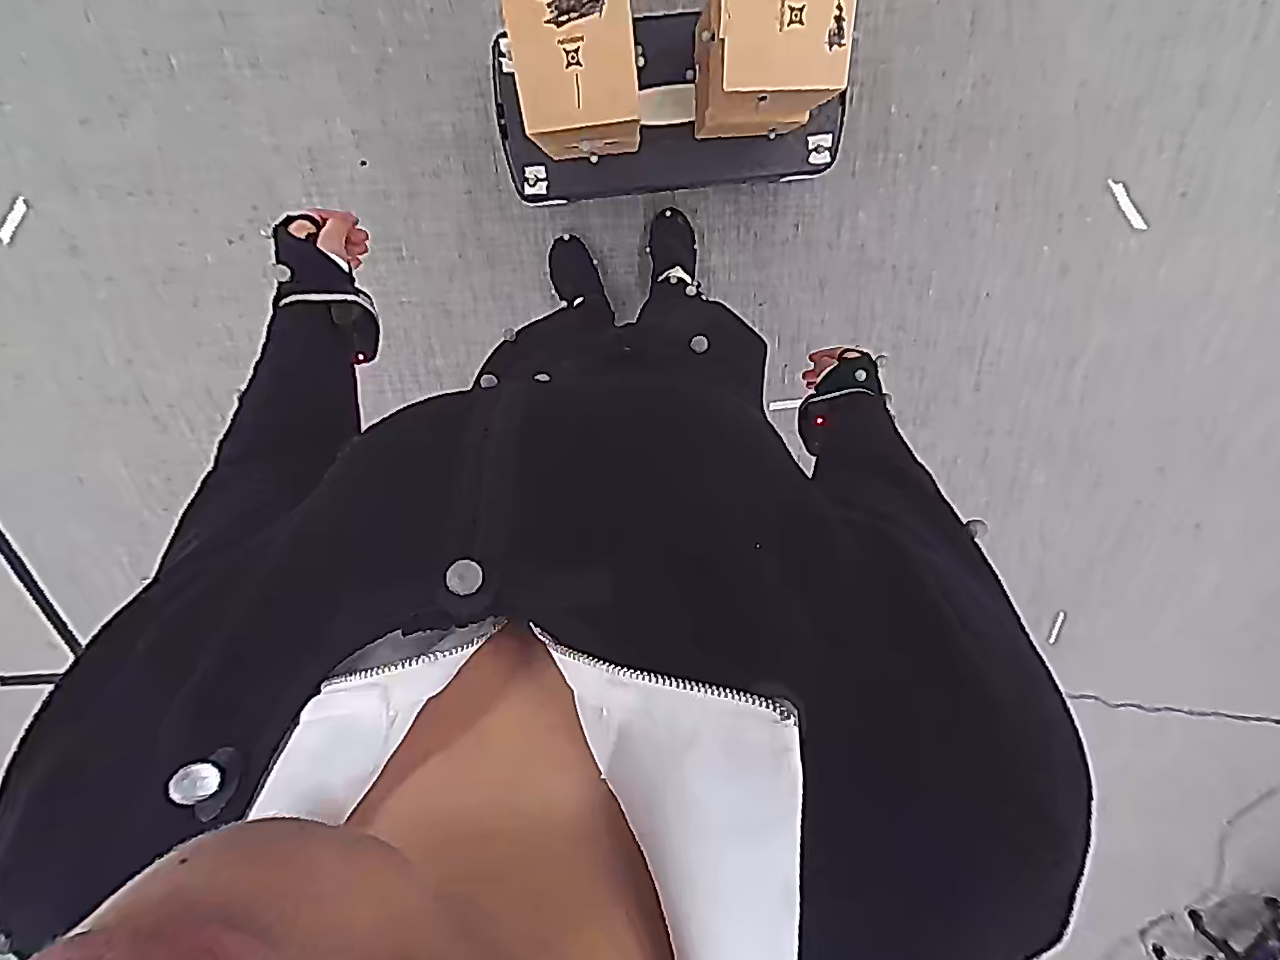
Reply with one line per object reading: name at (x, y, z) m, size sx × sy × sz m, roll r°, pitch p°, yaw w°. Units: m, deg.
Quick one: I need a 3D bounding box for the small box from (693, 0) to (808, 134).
small box at (0.185, -0.701, 0.931) m, size 0.179 × 0.176 × 0.168 m, roll -3°, pitch 116°, yaw 0°

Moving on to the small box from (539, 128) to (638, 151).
small box at (-0.095, -0.673, 0.934) m, size 0.168 × 0.176 × 0.179 m, roll -5°, pitch 117°, yaw 1°

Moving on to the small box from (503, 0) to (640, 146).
small box at (-0.092, -0.605, 0.785) m, size 0.168 × 0.176 × 0.179 m, roll -7°, pitch 117°, yaw 1°

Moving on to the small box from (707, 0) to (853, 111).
small box at (0.191, -0.644, 0.778) m, size 0.179 × 0.176 × 0.168 m, roll -1°, pitch 116°, yaw 1°
